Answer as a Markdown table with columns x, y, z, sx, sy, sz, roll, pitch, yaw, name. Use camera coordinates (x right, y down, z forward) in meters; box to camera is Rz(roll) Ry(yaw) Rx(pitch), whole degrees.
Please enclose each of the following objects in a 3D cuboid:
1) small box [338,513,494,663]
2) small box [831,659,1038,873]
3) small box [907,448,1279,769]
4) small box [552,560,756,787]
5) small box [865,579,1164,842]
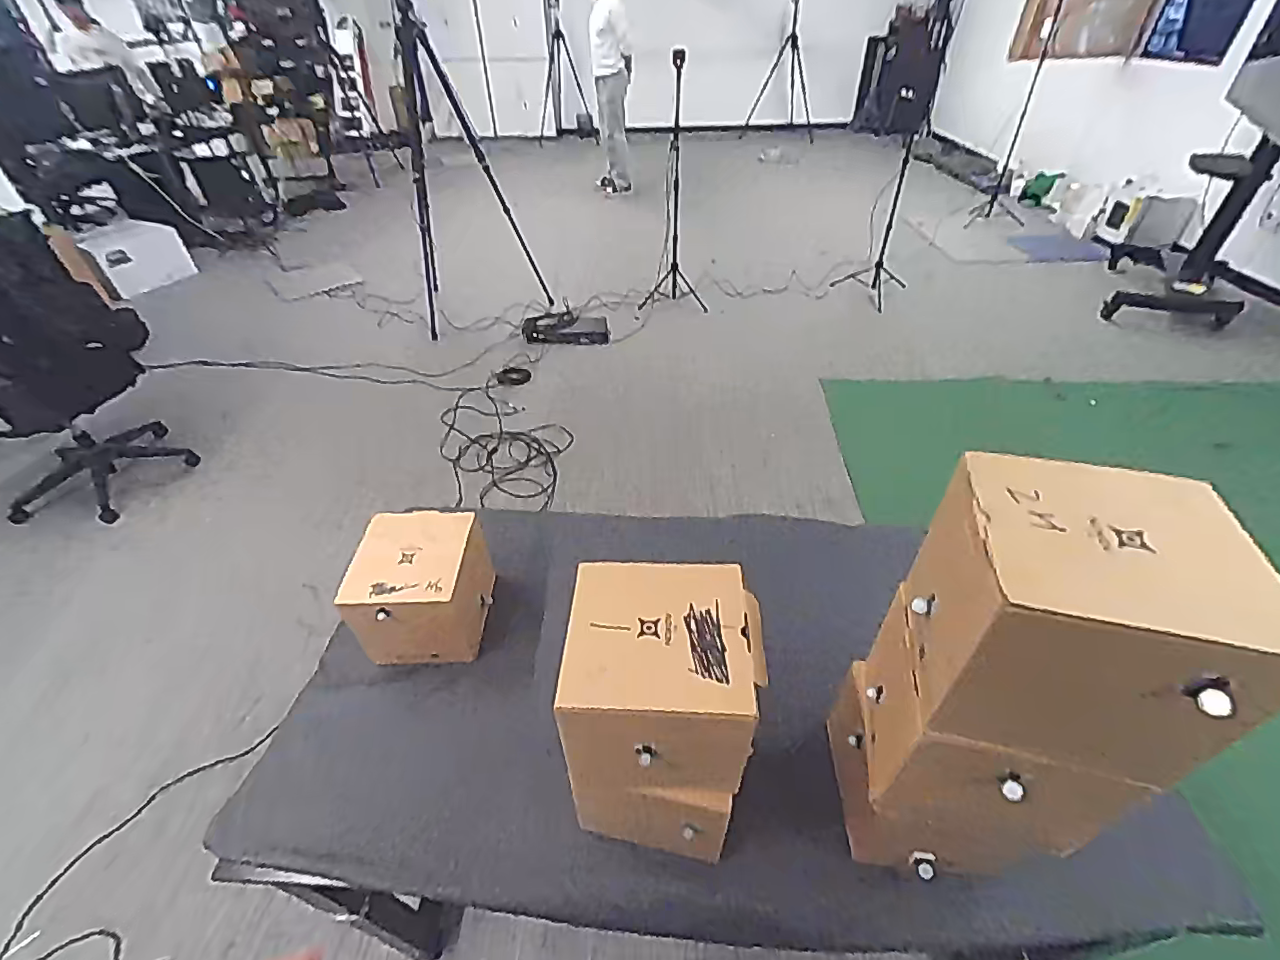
| x | y | z | sx | sy | sz | roll | pitch | yaw | name |
| --- | --- | --- | --- | --- | --- | --- | --- | --- | --- |
| -0.341 | 0.171 | 0.868 | 0.168 | 0.176 | 0.179 | -2 | 42 | 0 | small box |
| 0.341 | 0.340 | 0.649 | 0.168 | 0.176 | 0.179 | 0 | 41 | 4 | small box |
| 0.332 | 0.099 | 0.427 | 0.179 | 0.176 | 0.168 | 8 | 41 | 14 | small box |
| 0.018 | 0.203 | 0.568 | 0.179 | 0.176 | 0.168 | 1 | 40 | 4 | small box |
| 0.335 | 0.226 | 0.532 | 0.179 | 0.176 | 0.168 | 7 | 41 | 13 | small box |
